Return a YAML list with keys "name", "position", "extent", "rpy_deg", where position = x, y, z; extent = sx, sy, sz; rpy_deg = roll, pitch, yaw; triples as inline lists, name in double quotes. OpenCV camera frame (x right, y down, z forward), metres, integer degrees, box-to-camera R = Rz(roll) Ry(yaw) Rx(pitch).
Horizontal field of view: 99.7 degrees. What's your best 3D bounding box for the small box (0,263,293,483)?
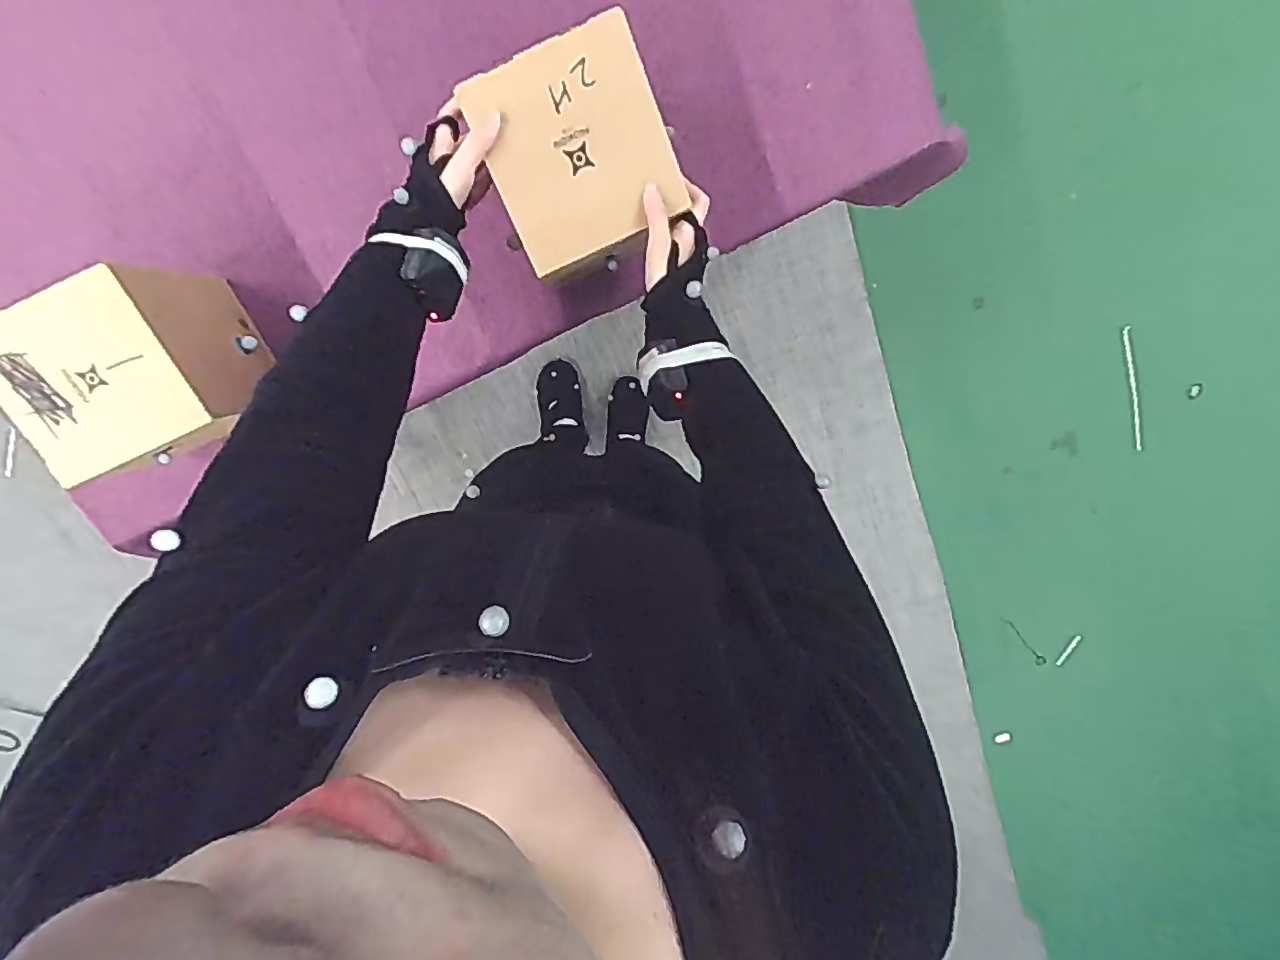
- name: "small box"
  position: [-0.547, -0.120, 0.607]
  extent: [0.179, 0.176, 0.168]
  rpy_deg: [-24, 106, 2]
